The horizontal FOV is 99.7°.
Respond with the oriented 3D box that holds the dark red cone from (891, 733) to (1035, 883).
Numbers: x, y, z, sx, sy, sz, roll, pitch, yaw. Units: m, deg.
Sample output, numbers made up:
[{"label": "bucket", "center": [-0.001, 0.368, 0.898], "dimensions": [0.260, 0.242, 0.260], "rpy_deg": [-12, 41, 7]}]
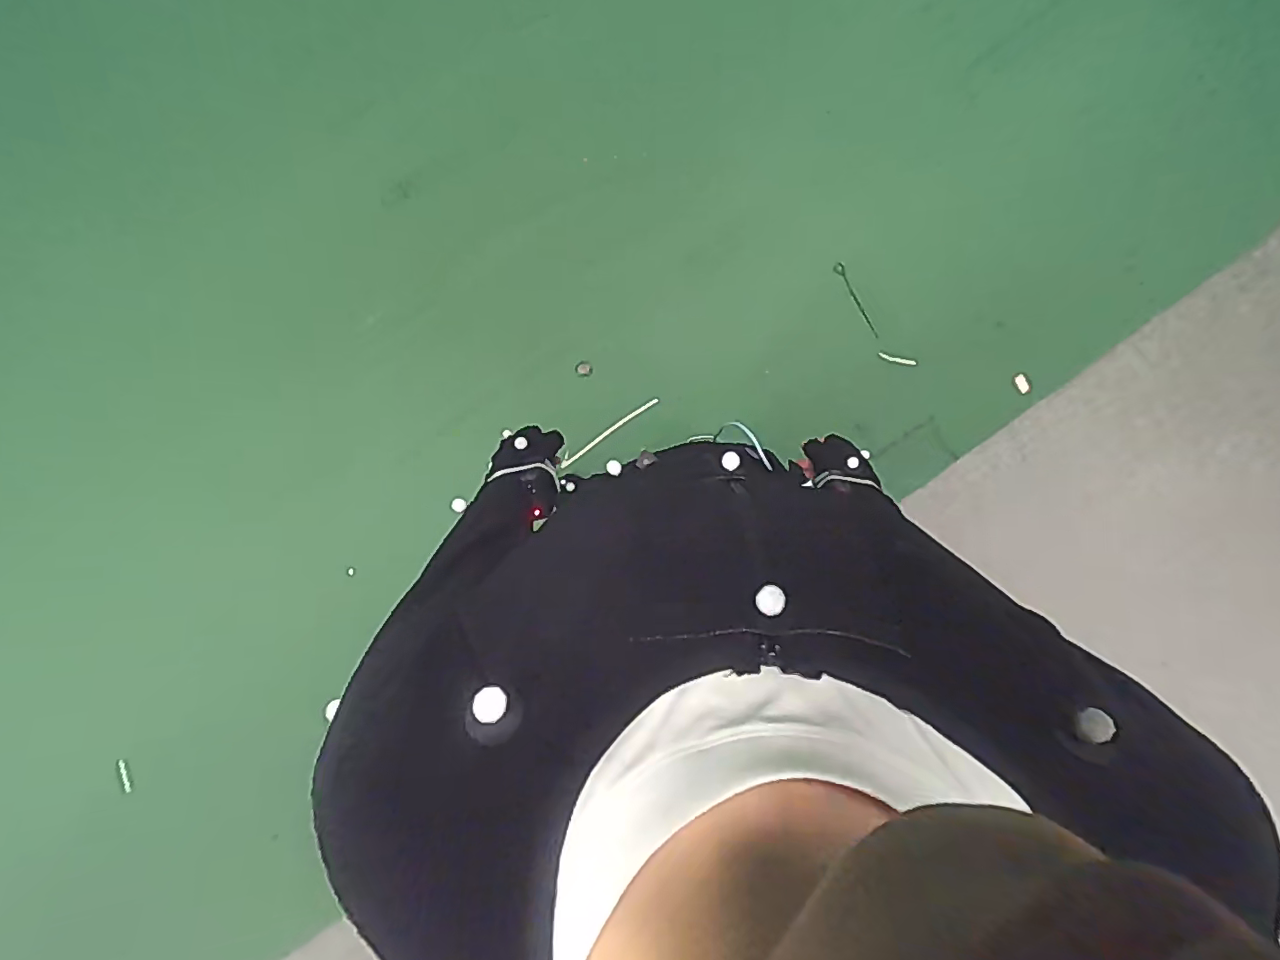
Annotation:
[{"label": "dark red cone", "center": [0.847, 0.853, 1.377], "dimensions": [0.202, 0.394, 0.201], "rpy_deg": [-42, 93, 0]}]
